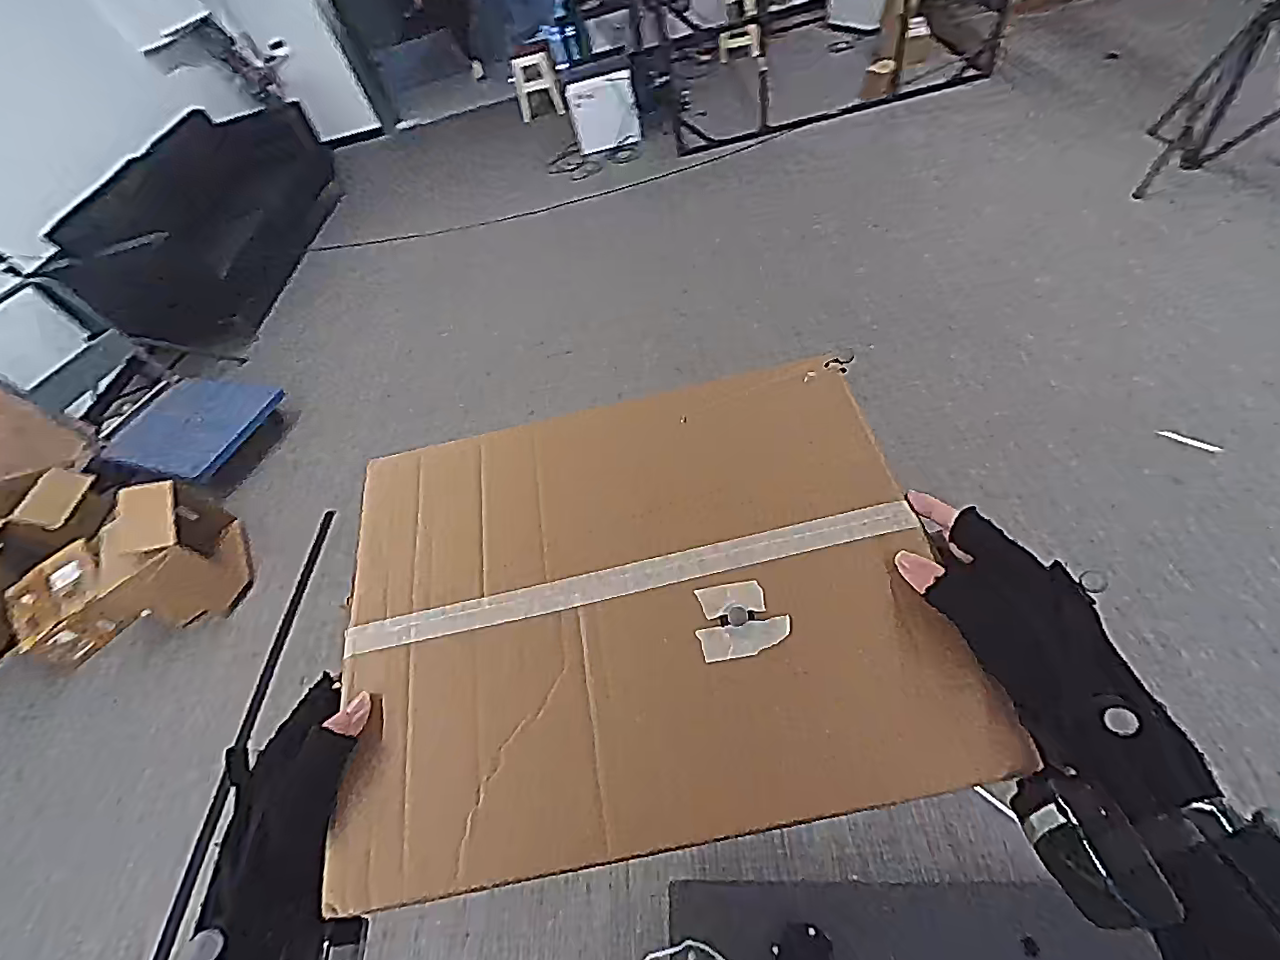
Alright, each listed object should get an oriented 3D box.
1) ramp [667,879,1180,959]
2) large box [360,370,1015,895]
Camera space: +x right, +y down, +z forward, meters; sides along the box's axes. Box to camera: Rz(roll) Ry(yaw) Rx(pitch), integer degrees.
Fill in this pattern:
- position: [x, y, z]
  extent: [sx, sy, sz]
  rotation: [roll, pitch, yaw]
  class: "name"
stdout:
- position: [0.553, 1.038, 0.994]
  extent: [0.991, 0.206, 0.509]
  rotation: [-9, 50, 9]
  class: "ramp"
- position: [0.019, 0.150, 0.518]
  extent: [0.408, 0.320, 0.320]
  rotation: [-12, 59, 1]
  class: "large box"
